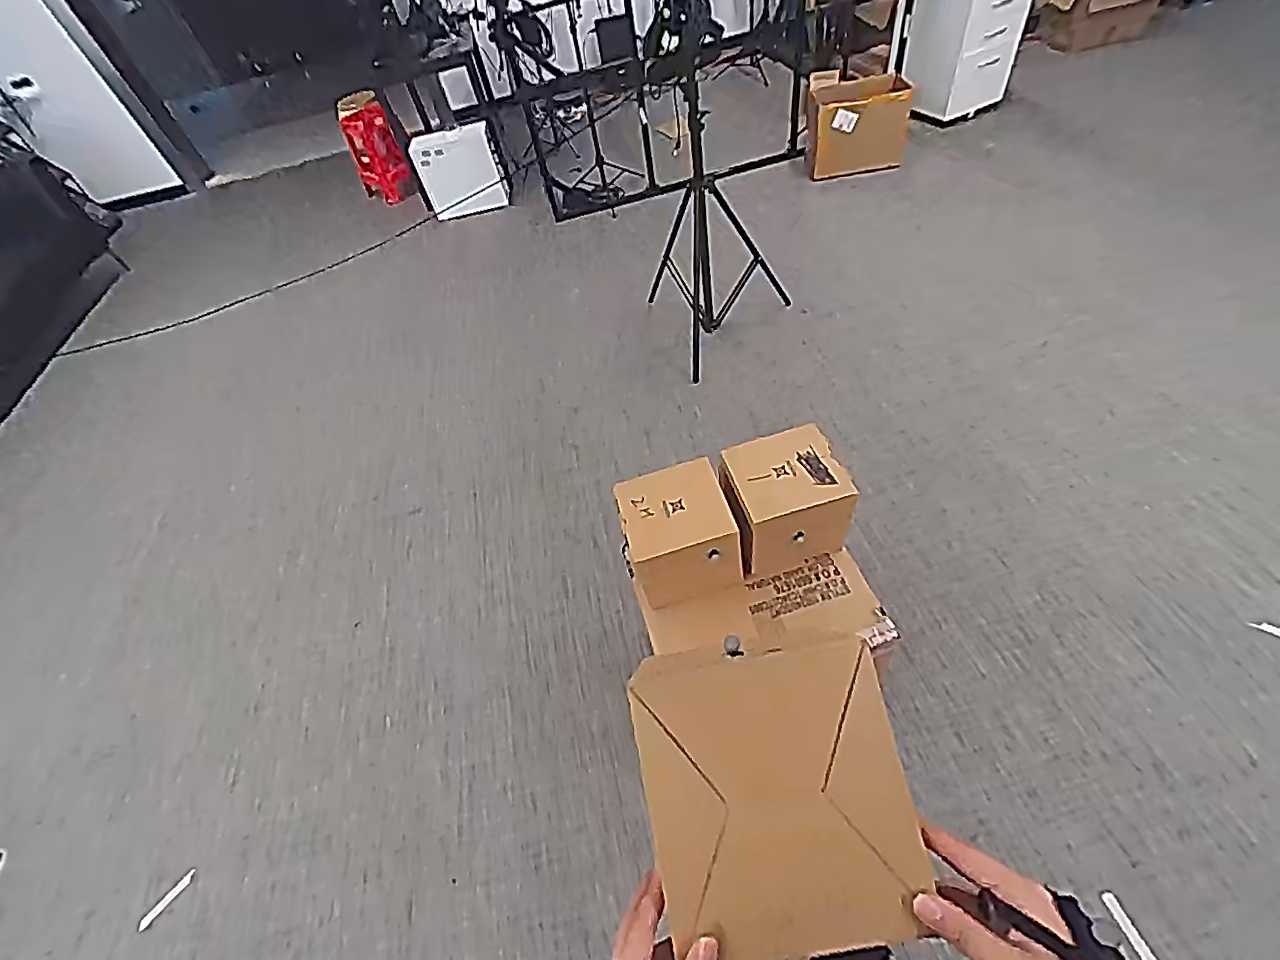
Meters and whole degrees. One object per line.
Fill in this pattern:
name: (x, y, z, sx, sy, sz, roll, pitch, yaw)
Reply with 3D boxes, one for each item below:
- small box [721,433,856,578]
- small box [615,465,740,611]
small box: (0.251, 0.048, 0.960, 0.179, 0.176, 0.168, -16, 51, -2)
small box: (0.070, 0.106, 0.951, 0.179, 0.176, 0.168, -18, 50, 1)
